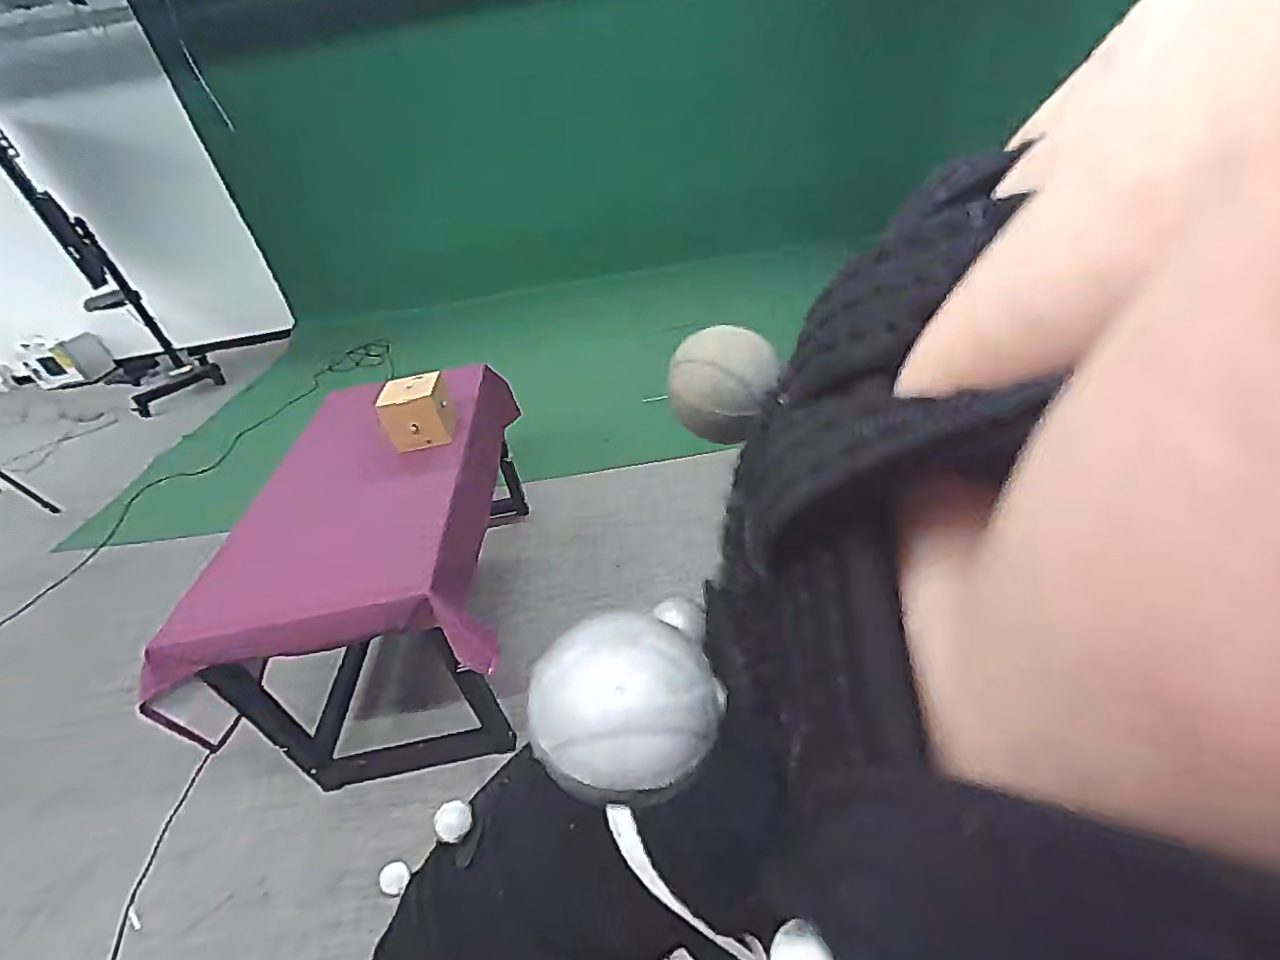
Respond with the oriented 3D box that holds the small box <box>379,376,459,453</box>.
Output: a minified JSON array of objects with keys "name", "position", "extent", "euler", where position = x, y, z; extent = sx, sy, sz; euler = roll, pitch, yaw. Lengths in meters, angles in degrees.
[{"name":"small box","position":[-0.678,-0.197,1.685],"extent":[0.168,0.176,0.179],"euler":[-12,37,-2]}]
